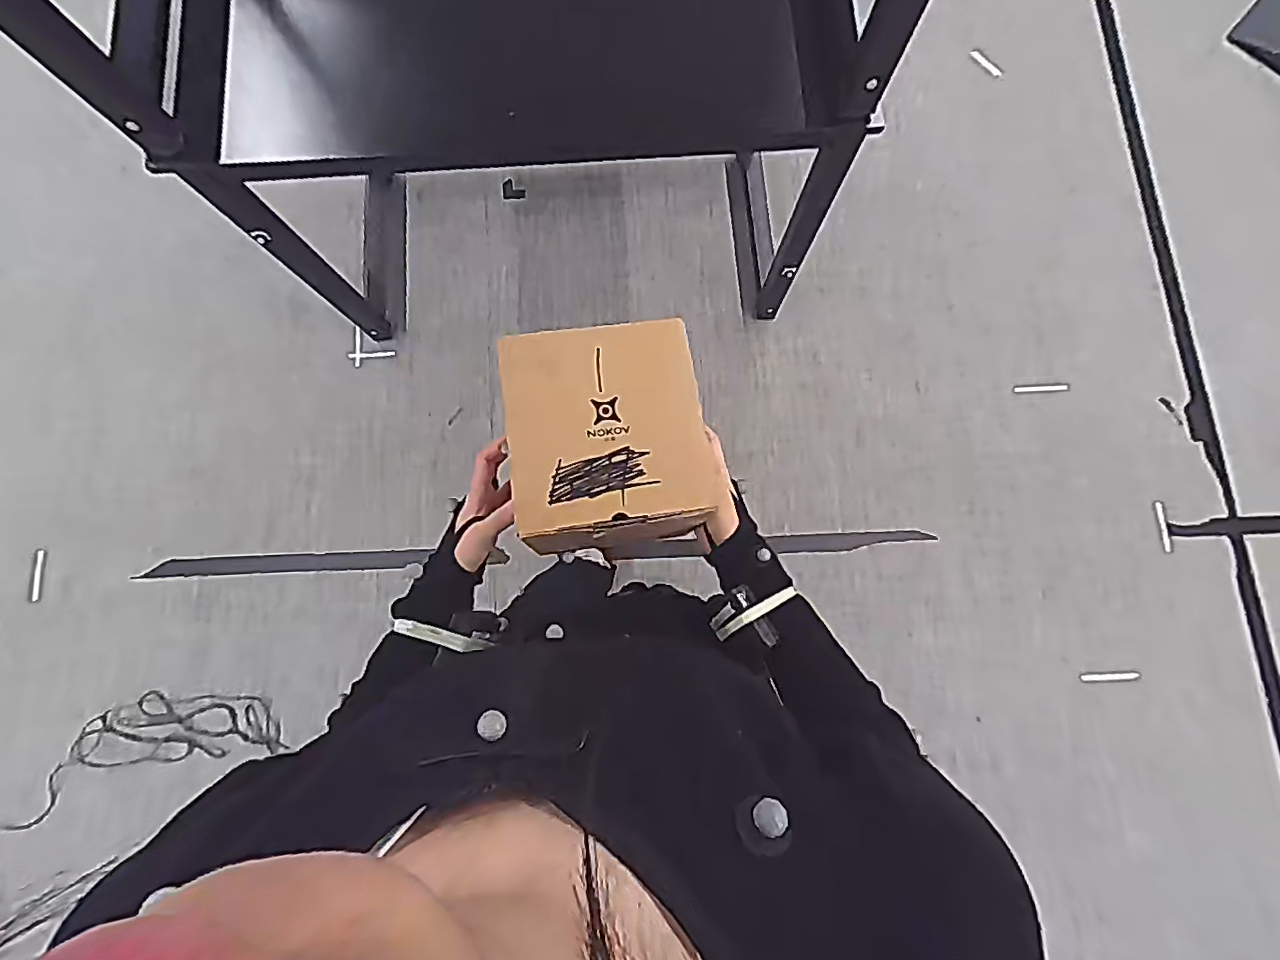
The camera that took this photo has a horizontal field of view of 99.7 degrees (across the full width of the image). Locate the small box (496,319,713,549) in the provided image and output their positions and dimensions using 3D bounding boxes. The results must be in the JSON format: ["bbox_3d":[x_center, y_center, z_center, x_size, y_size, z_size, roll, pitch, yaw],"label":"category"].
[{"bbox_3d":[-0.036,-0.031,0.527,0.168,0.176,0.179,-8,77,-7],"label":"small box"}]
